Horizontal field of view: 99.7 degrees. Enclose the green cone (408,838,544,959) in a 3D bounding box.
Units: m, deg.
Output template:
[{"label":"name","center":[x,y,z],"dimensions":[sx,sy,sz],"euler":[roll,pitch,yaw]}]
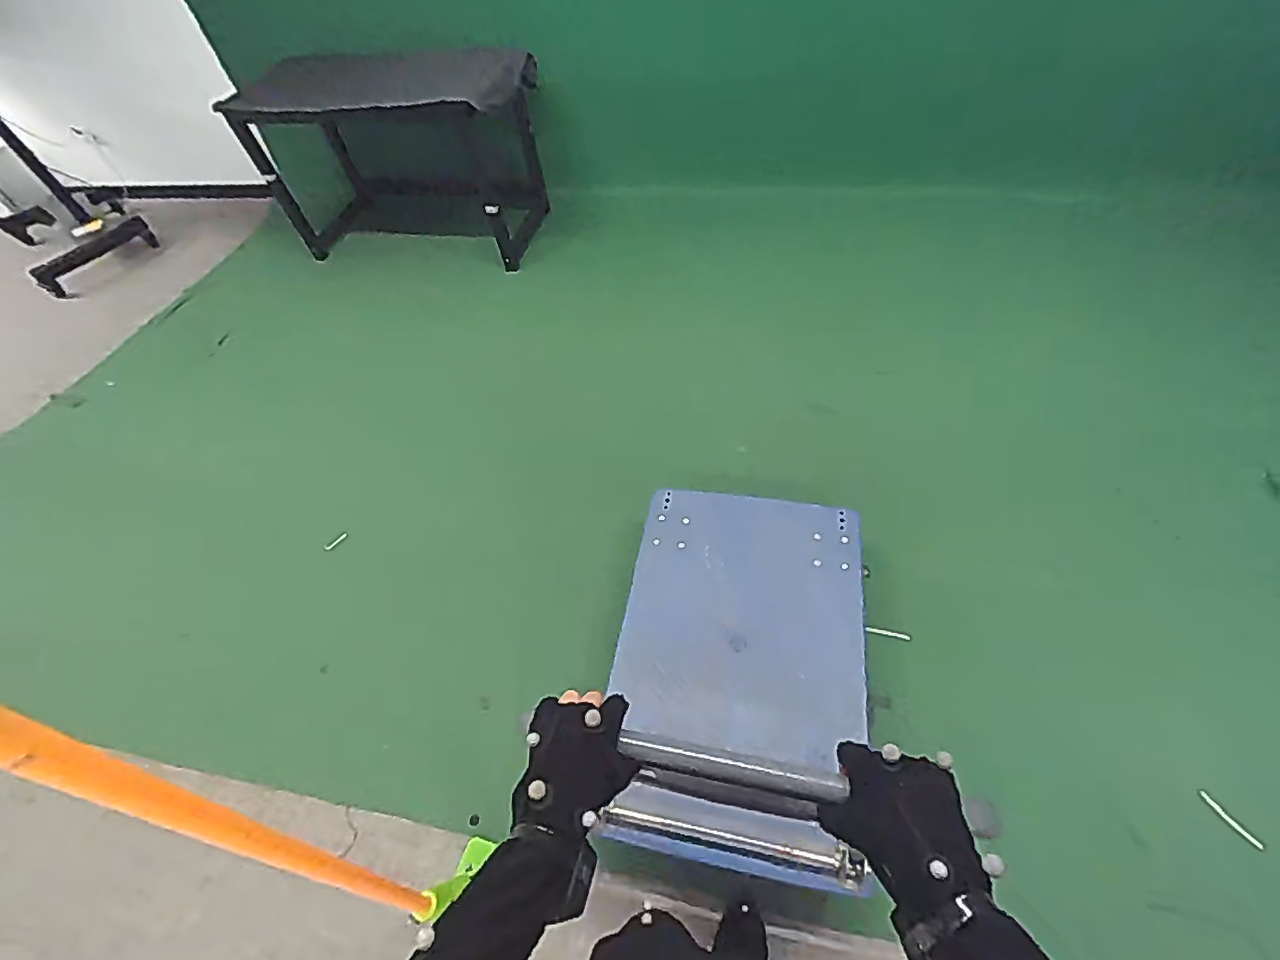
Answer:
[{"label":"green cone","center":[-0.344,0.810,1.041],"dimensions":[0.202,0.368,0.200],"euler":[9,53,15]}]
